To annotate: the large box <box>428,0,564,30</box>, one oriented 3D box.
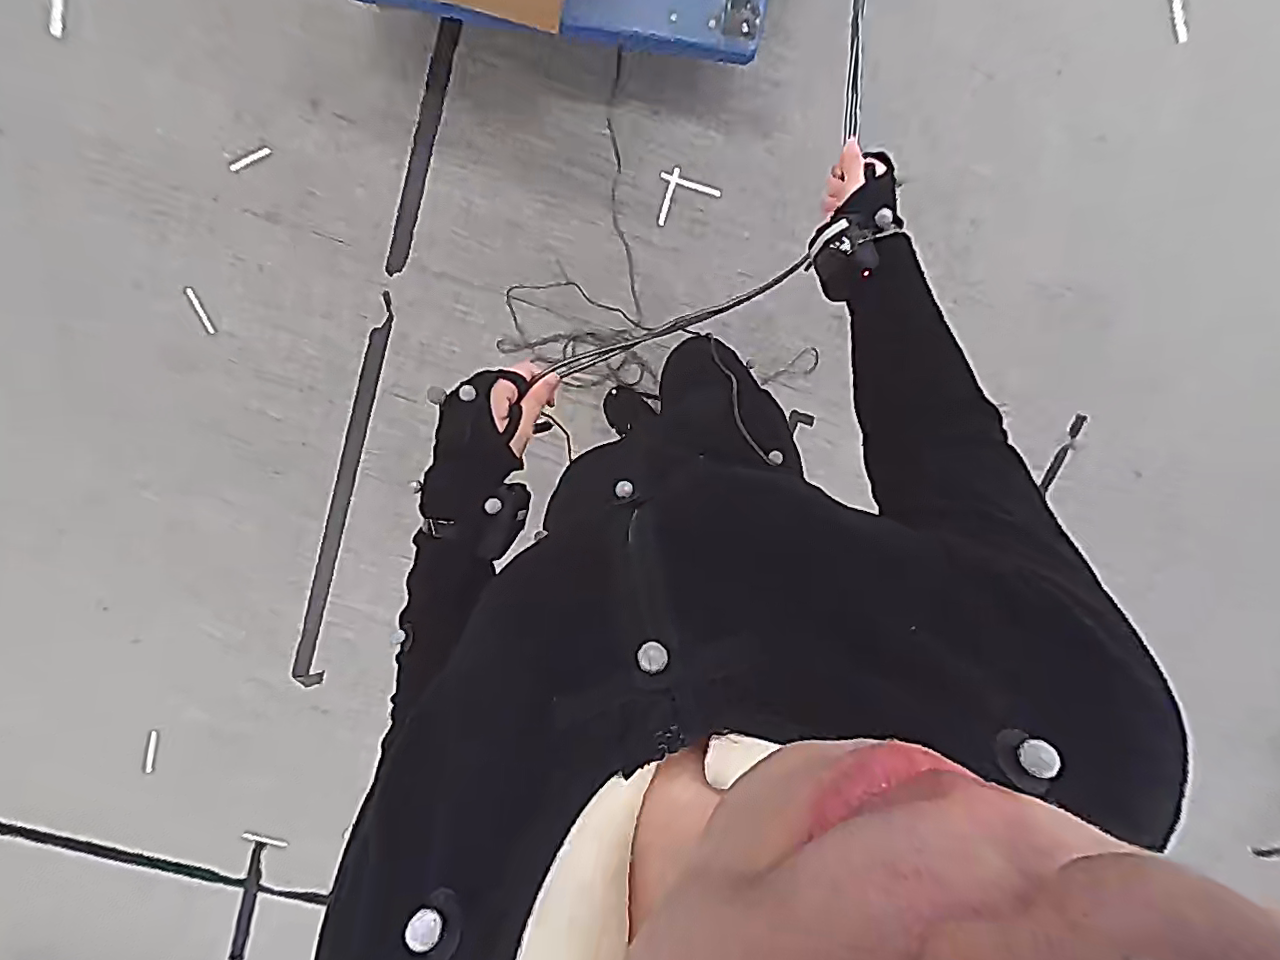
[{"bbox_3d":[-0.324,-1.055,0.909,0.408,0.320,0.320,12,102,-3],"label":"large box"}]
